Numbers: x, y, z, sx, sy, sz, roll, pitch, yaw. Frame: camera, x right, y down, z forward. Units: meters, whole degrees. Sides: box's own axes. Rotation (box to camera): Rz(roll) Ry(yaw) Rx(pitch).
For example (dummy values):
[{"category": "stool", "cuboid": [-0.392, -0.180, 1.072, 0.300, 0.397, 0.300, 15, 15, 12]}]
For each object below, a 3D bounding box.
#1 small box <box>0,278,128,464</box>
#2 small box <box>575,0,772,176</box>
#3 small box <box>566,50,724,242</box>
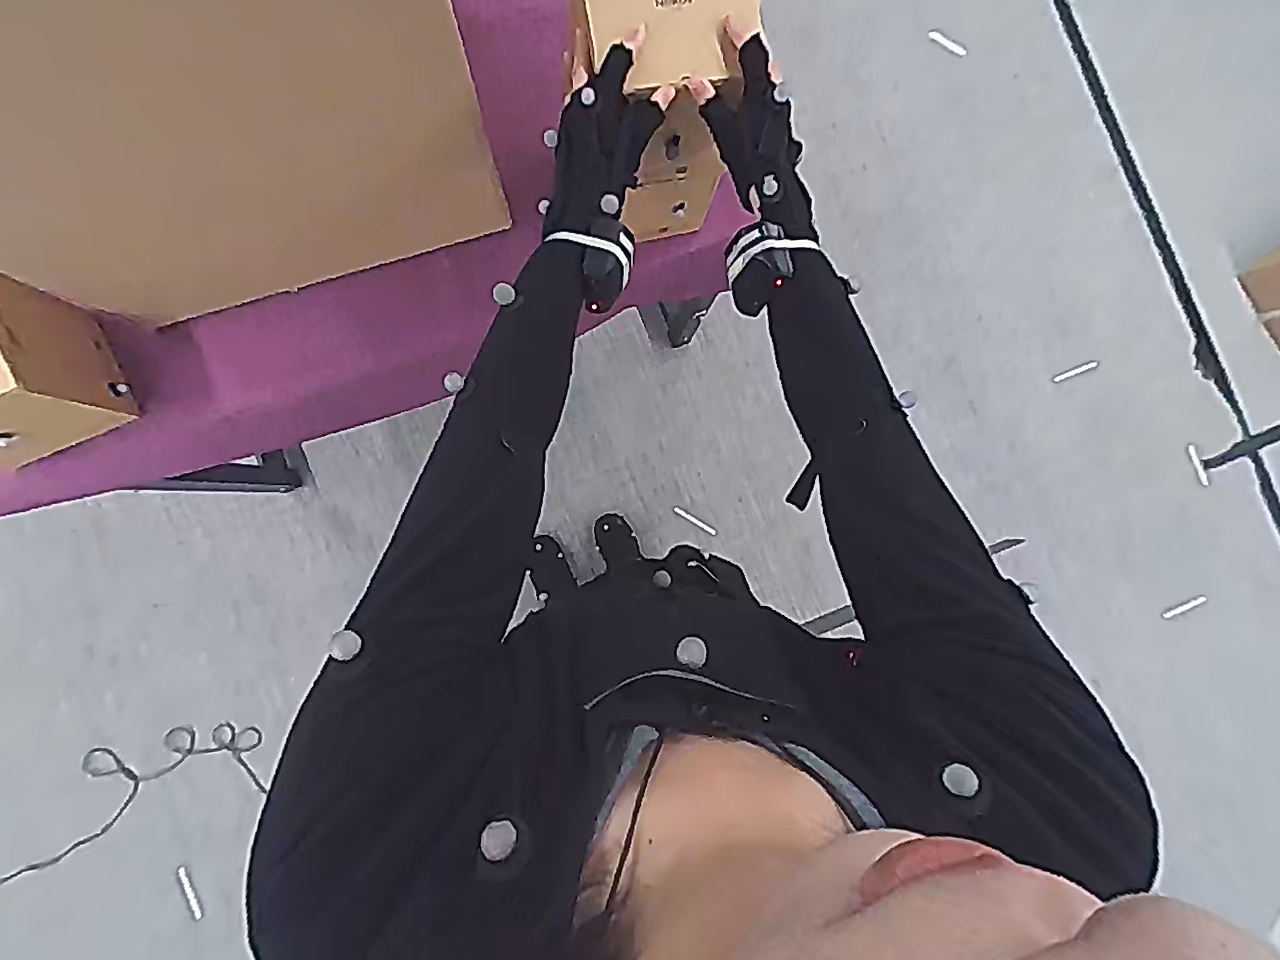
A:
[{"category": "small box", "cuboid": [-0.783, -0.132, 0.652, 0.179, 0.176, 0.168, -26, 88, -7]}, {"category": "small box", "cuboid": [0.025, -0.451, 0.576, 0.168, 0.176, 0.179, -10, 93, -5]}, {"category": "small box", "cuboid": [0.001, -0.447, 0.737, 0.168, 0.176, 0.179, -14, 90, -6]}]
